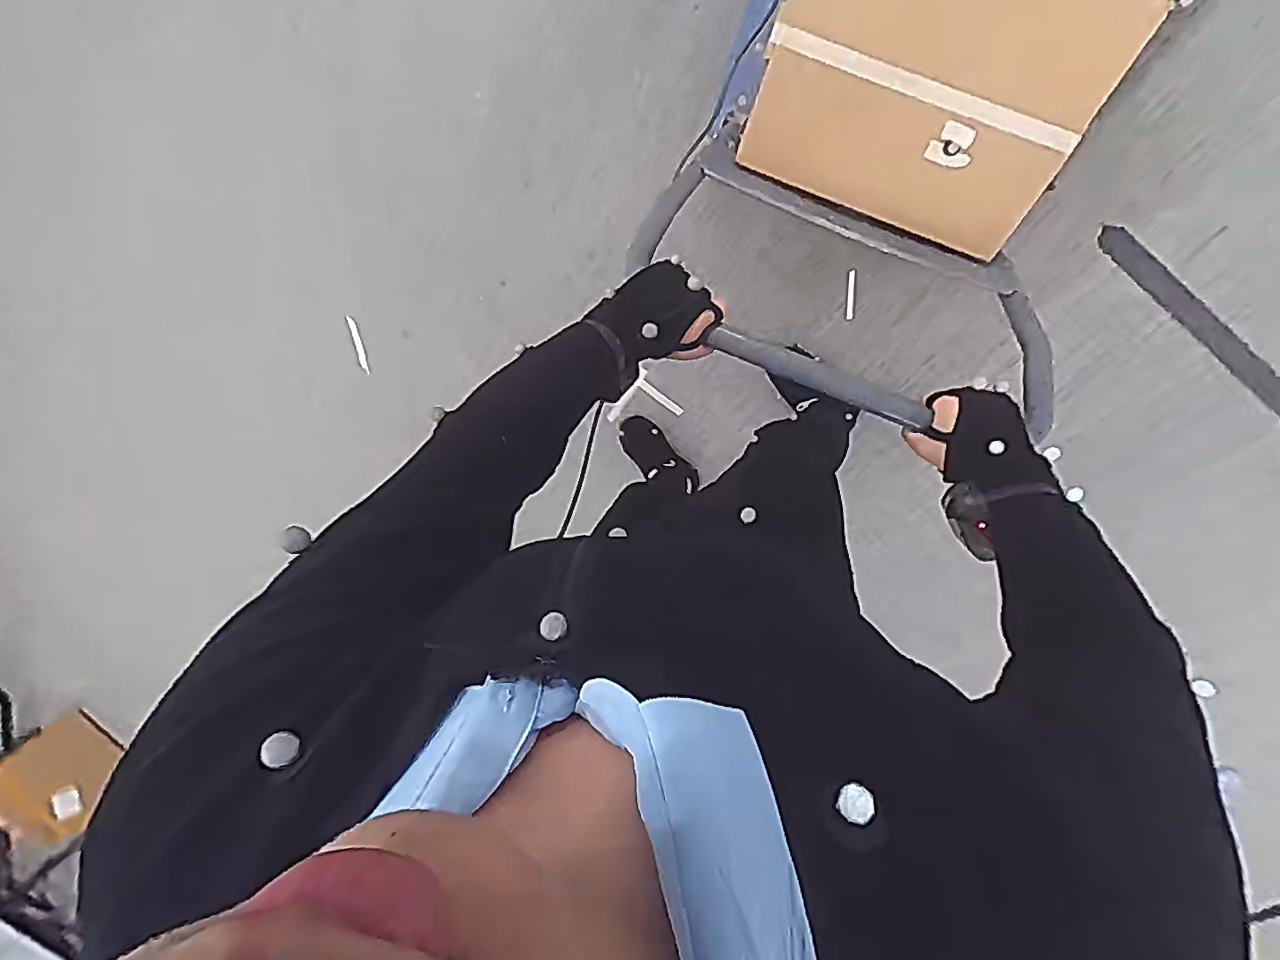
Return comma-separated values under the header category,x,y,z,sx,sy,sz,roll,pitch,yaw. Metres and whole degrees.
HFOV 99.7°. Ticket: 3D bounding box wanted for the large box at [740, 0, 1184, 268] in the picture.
category,x,y,z,sx,sy,sz,roll,pitch,yaw
large box,0.403,-0.573,0.799,0.408,0.320,0.320,22,132,1
